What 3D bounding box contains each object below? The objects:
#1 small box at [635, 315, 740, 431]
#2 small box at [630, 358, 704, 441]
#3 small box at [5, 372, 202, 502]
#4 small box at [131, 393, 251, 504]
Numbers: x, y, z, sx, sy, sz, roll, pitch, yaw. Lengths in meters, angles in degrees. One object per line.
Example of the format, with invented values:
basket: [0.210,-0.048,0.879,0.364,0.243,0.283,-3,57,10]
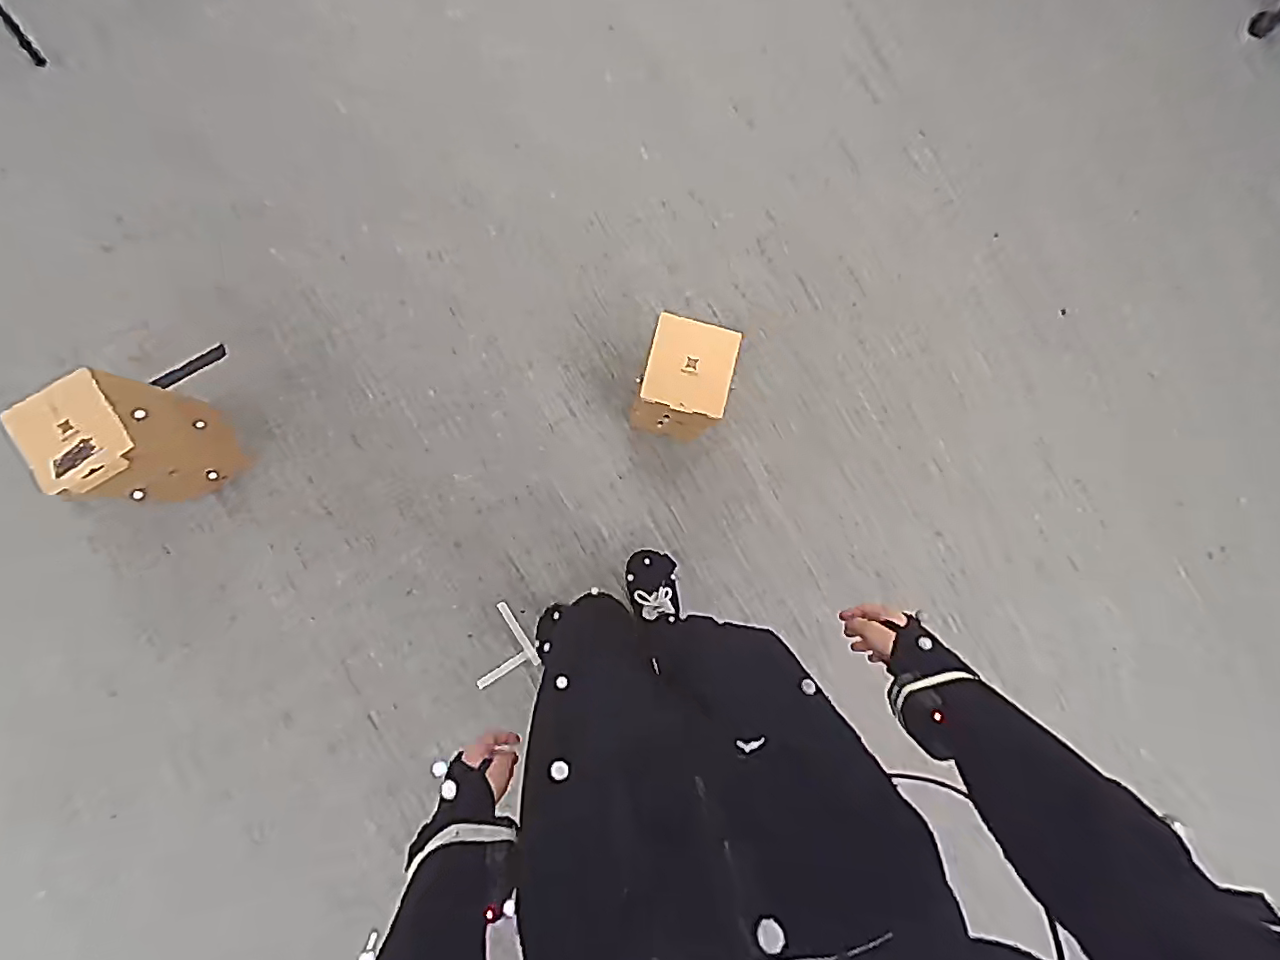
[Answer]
small box: [0.090,-0.211,1.113,0.168,0.176,0.179,14,87,-4]
small box: [0.075,-0.202,1.275,0.168,0.176,0.179,14,86,-4]
small box: [-0.998,-0.074,1.027,0.168,0.176,0.179,-34,89,-6]
small box: [-1.015,-0.062,1.190,0.168,0.176,0.179,-35,89,-6]
